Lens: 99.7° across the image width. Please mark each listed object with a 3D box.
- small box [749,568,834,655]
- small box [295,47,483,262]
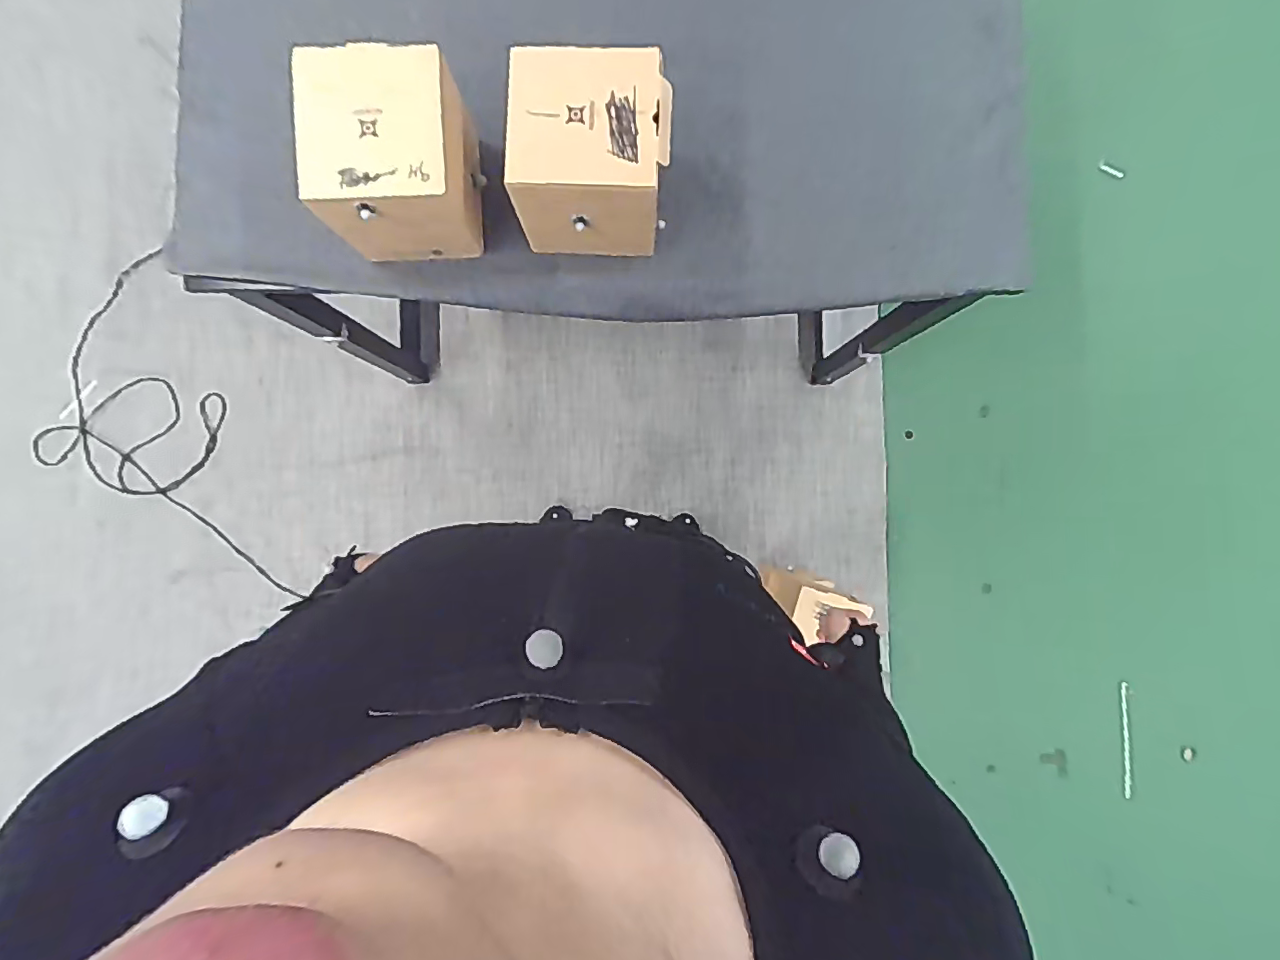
[{"bbox_3d":[0.387,0.336,1.409,0.168,0.176,0.179,8,88,-1],"label":"small box"},{"bbox_3d":[-0.305,-0.399,0.688,0.168,0.176,0.179,-2,88,0],"label":"small box"}]
